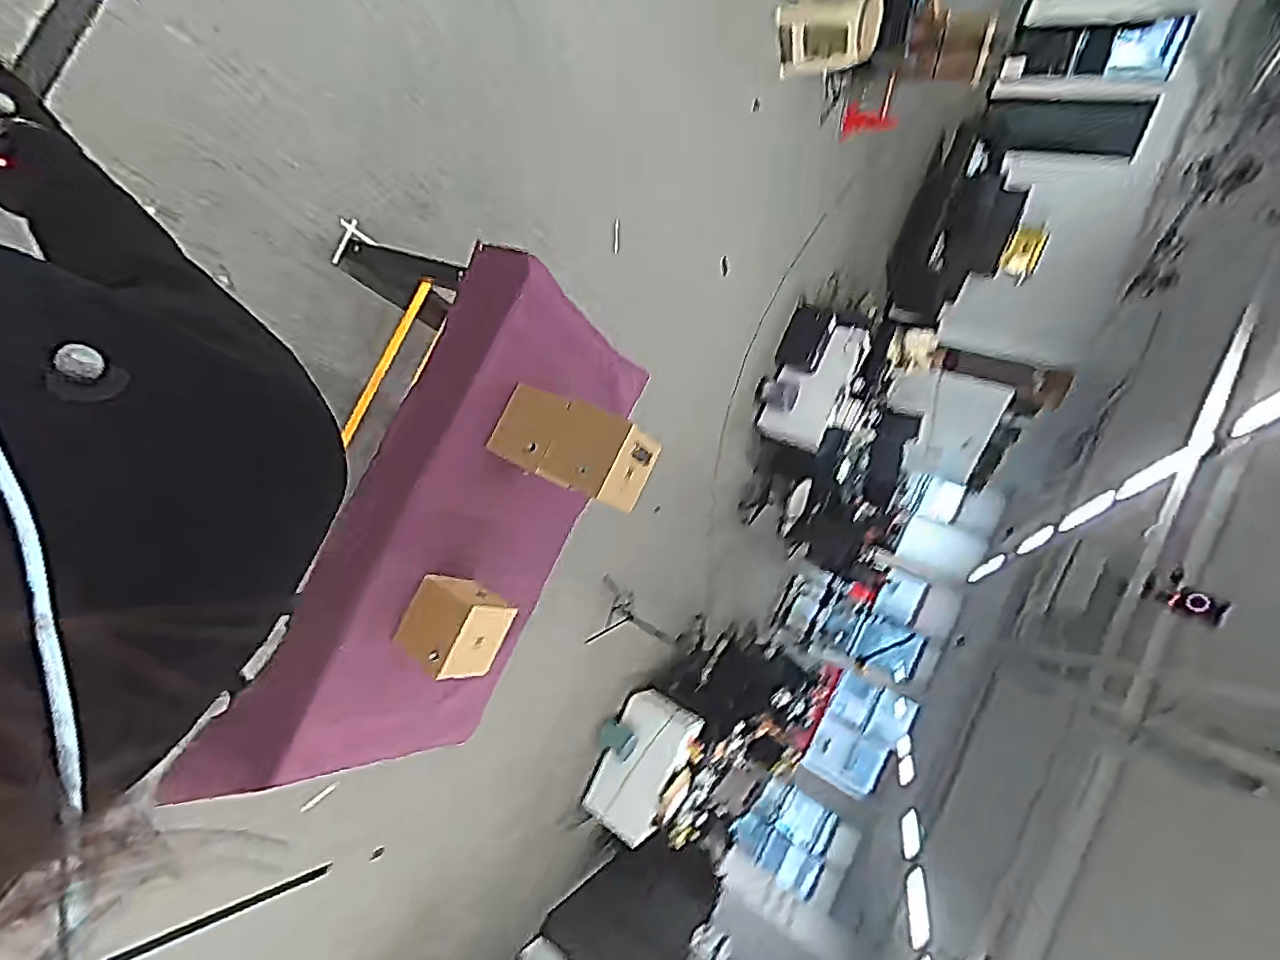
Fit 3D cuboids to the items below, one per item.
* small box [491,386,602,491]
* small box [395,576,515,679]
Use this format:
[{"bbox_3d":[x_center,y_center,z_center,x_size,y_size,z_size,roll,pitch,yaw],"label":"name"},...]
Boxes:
[{"bbox_3d":[-0.228,-0.099,1.294,0.179,0.176,0.168,-63,152,-5],"label":"small box"},{"bbox_3d":[-0.437,0.342,1.272,0.179,0.176,0.168,-64,153,-4],"label":"small box"}]
